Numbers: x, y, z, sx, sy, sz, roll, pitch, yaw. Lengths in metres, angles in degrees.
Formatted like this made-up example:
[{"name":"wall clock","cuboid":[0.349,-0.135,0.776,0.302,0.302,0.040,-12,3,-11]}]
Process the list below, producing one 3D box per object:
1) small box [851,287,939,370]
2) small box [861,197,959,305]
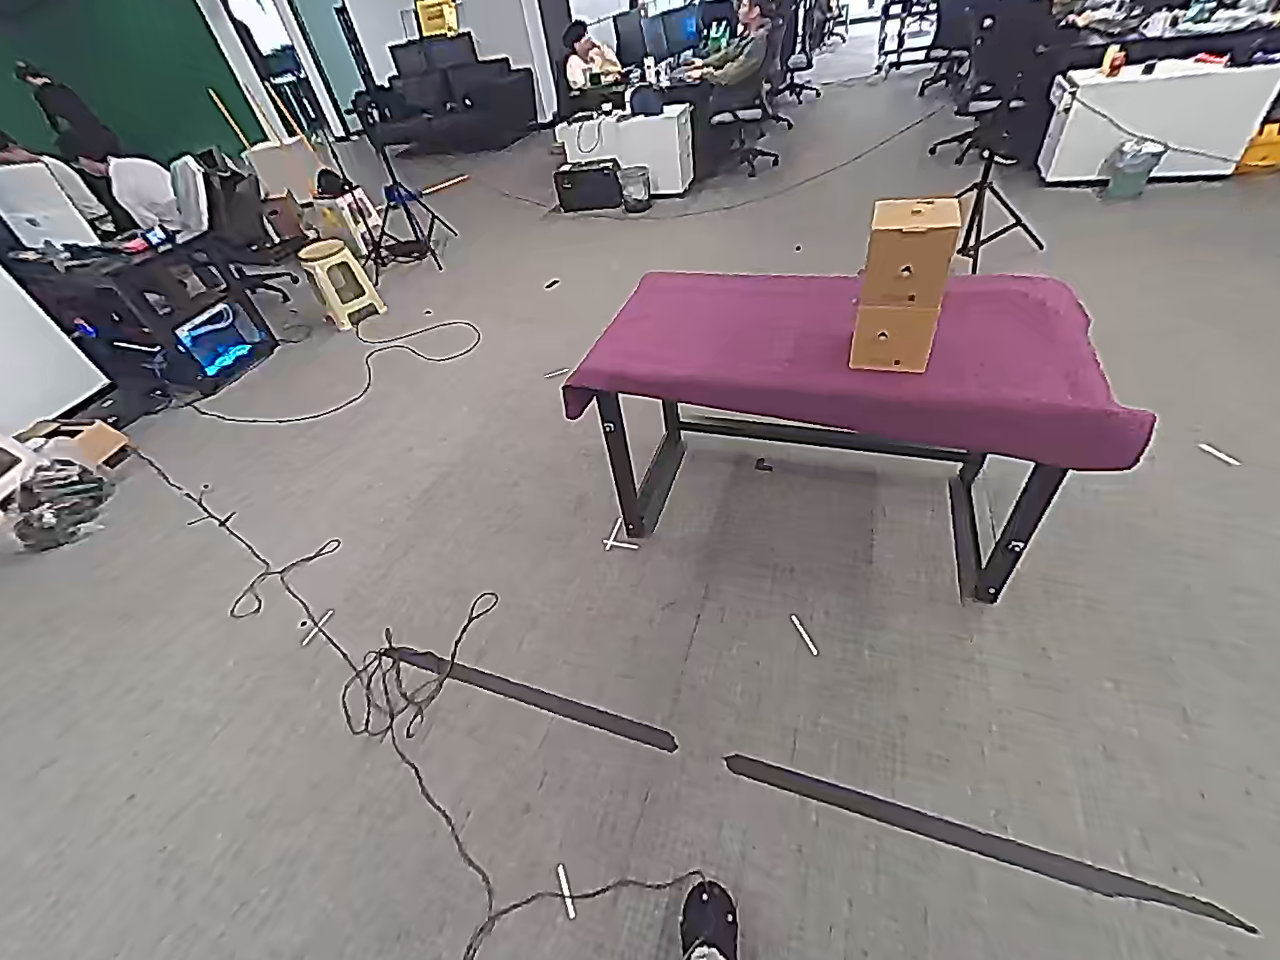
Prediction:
[{"name":"small box","cuboid":[0.608,-0.379,1.297,0.168,0.176,0.179,8,46,19]},{"name":"small box","cuboid":[0.589,-0.500,1.188,0.168,0.176,0.179,9,47,20]}]
